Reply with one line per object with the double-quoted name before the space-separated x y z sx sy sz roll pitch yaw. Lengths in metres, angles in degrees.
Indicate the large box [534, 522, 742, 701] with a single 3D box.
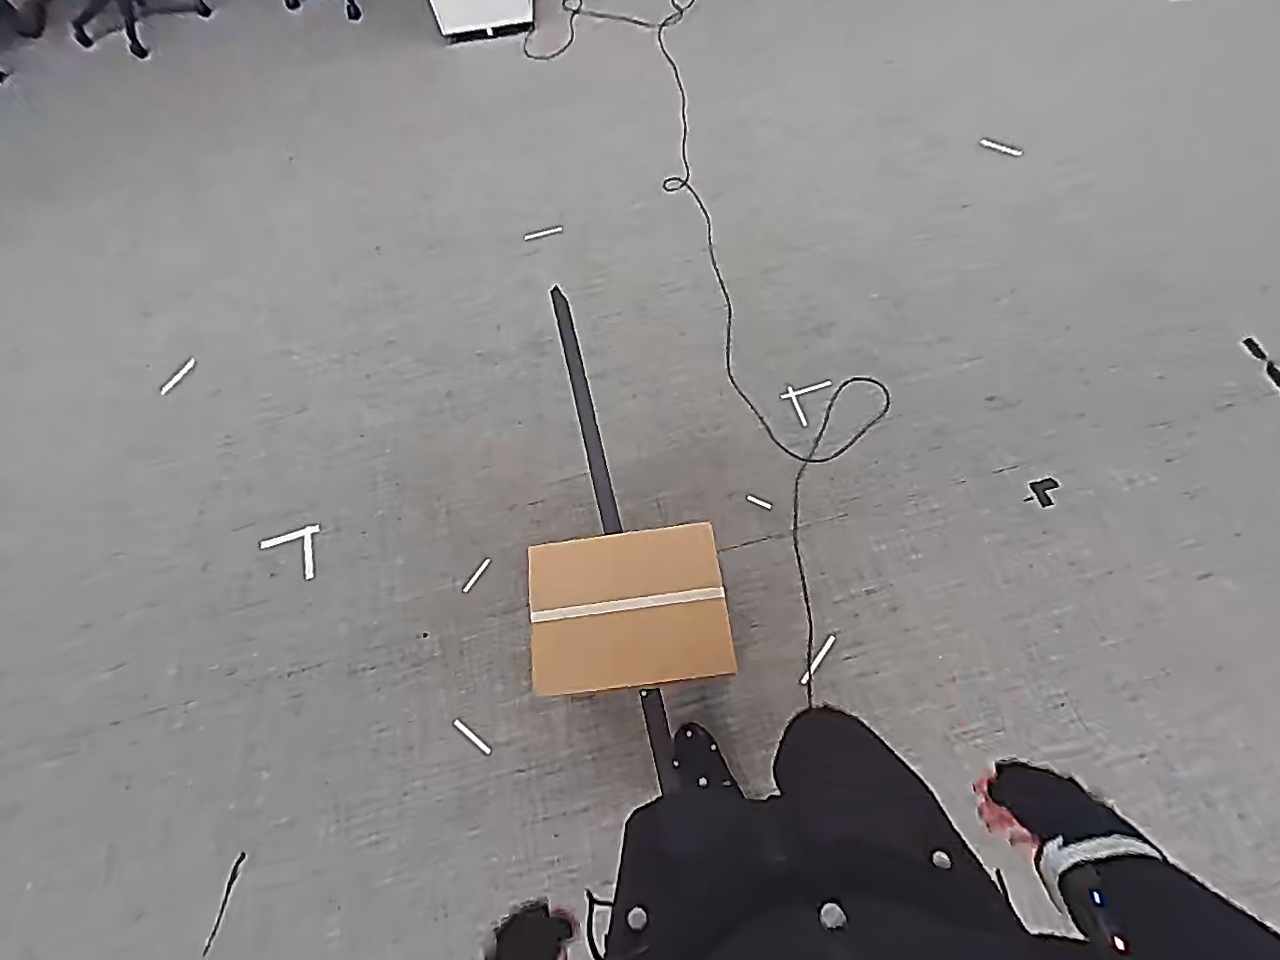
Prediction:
"large box" -0.003 0.317 1.246 0.408 0.320 0.320 -8 68 2
